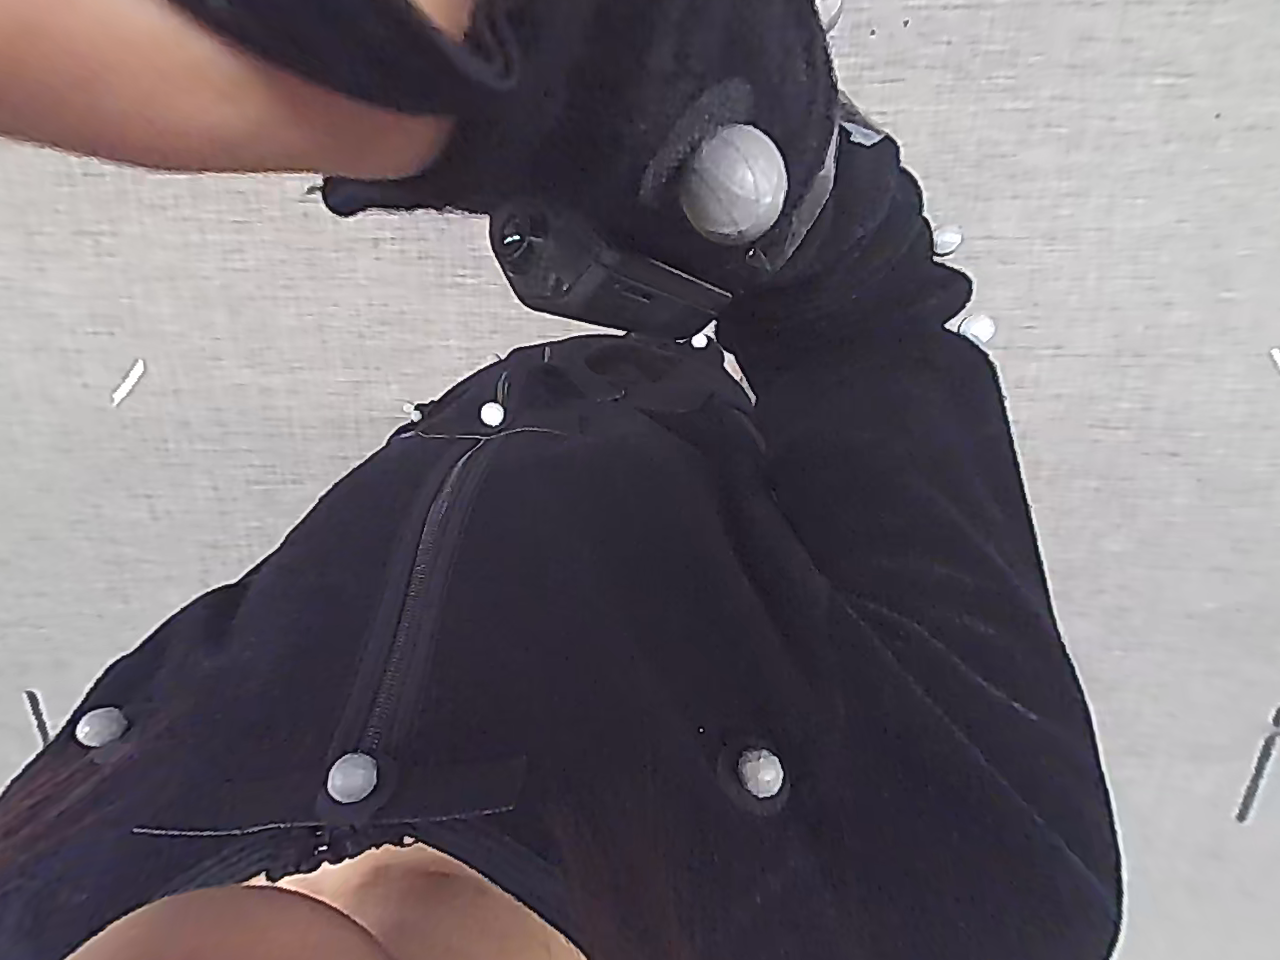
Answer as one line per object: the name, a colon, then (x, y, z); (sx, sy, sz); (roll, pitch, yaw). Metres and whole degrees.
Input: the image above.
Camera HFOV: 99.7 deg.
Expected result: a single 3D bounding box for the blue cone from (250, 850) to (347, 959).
blue cone: (-1.080, 1.363, 1.647); (0.193, 0.380, 0.192); (4, 104, 1)
